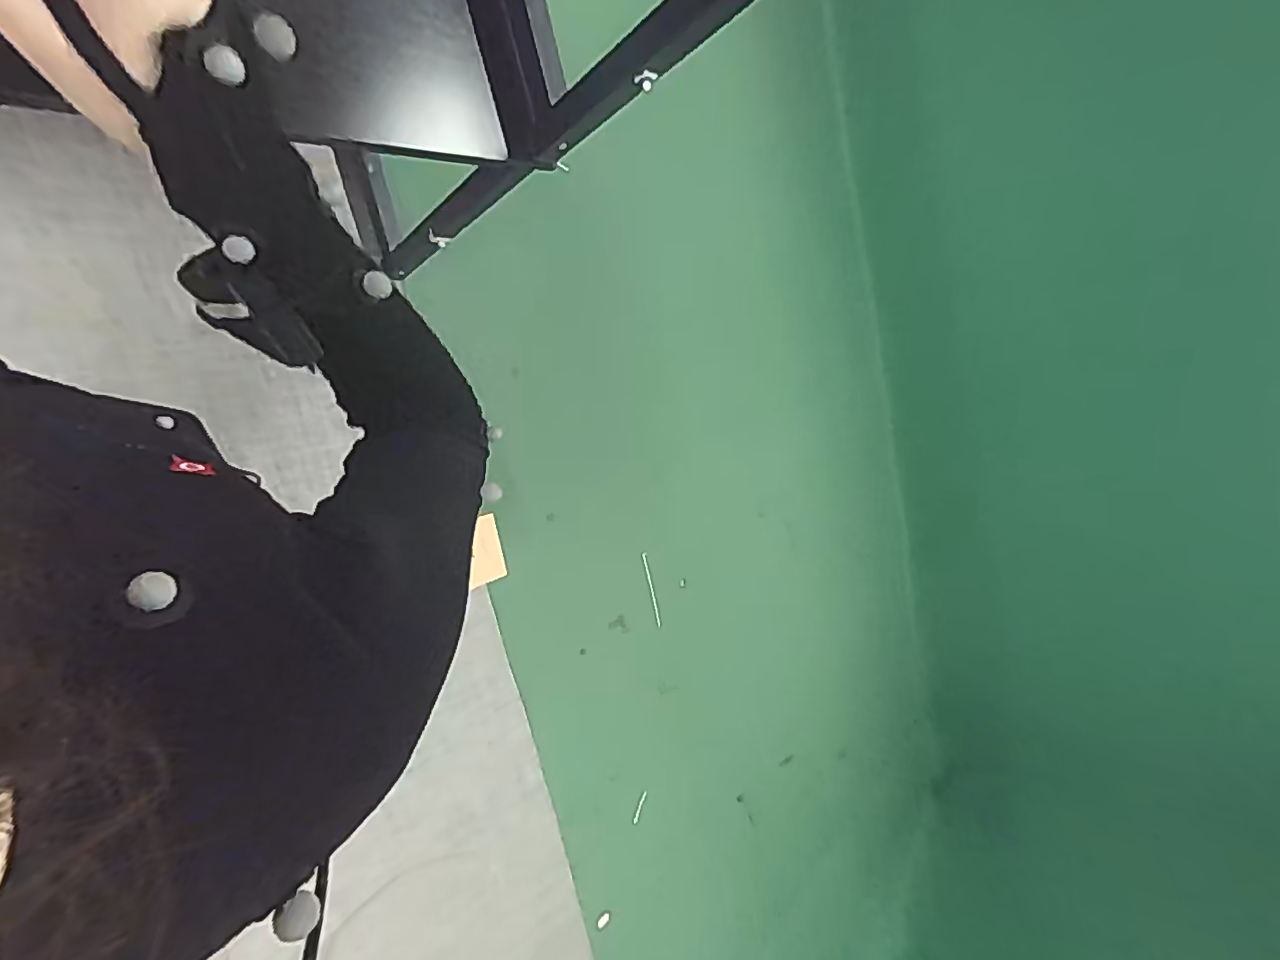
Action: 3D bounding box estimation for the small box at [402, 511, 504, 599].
[{"bbox_3d":[-0.468,0.178,1.339,0.179,0.176,0.168,-19,103,-43],"label":"small box"}]
